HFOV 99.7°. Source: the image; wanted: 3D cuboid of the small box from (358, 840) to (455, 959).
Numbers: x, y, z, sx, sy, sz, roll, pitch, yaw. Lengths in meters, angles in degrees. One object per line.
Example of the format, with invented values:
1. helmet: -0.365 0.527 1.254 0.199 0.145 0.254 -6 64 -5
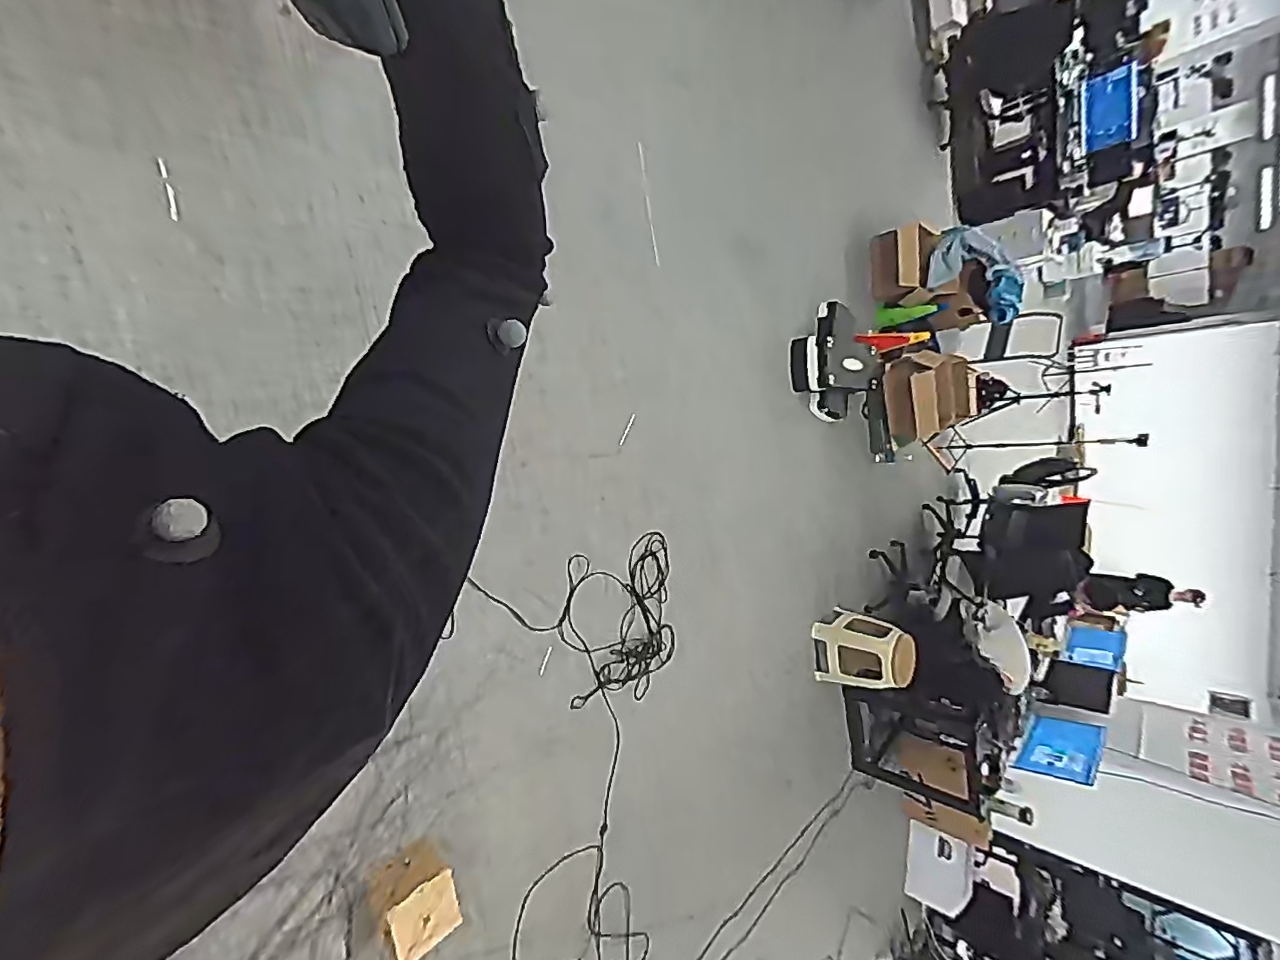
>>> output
1. small box: -0.612 1.099 1.412 0.168 0.176 0.179 -17 102 -44
